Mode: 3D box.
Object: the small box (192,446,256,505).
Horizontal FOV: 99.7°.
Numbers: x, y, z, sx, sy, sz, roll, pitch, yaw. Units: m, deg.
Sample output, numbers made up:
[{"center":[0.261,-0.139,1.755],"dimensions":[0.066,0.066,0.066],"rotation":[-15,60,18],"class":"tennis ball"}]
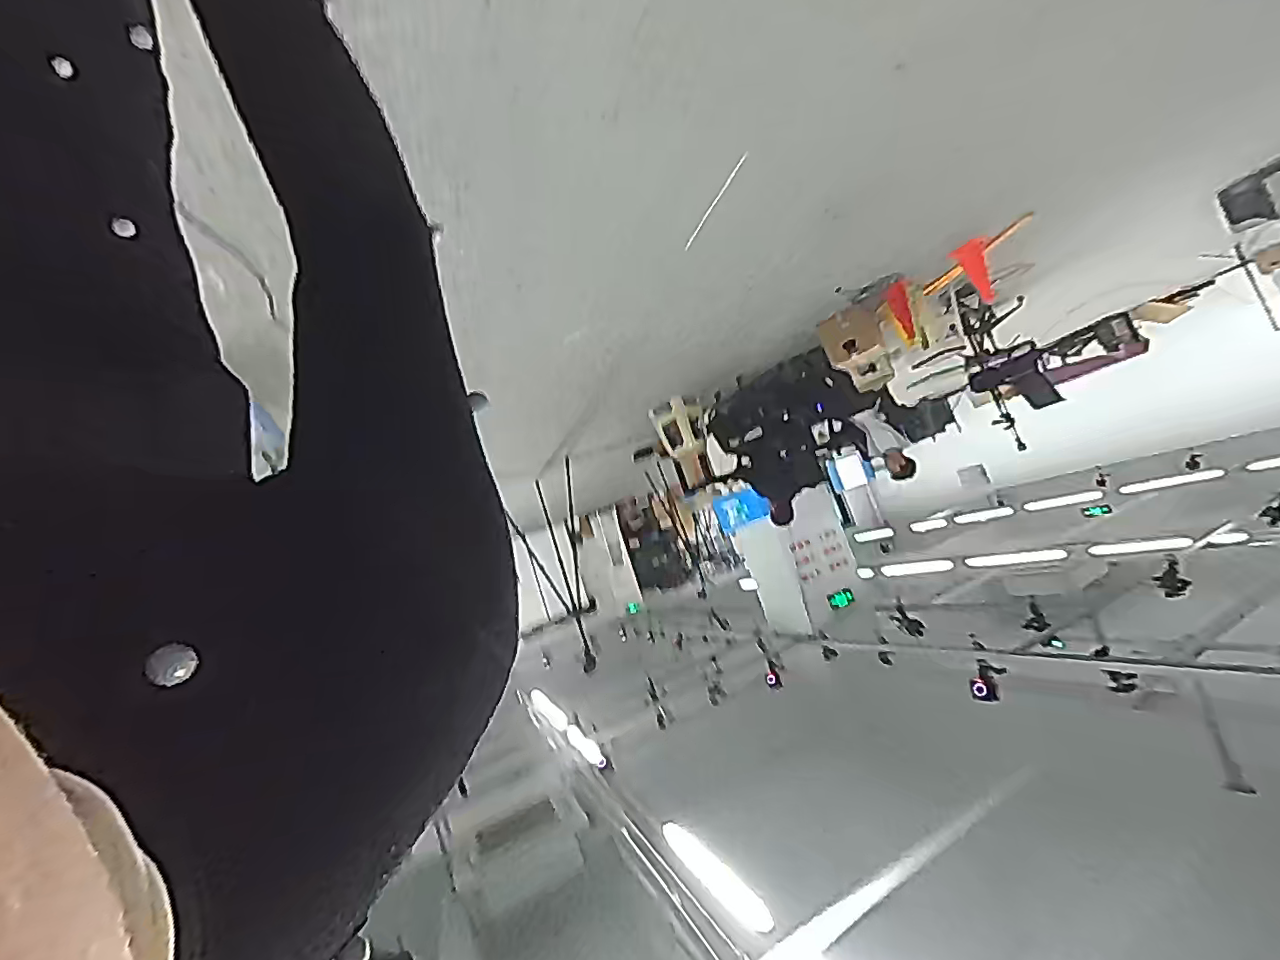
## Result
[{"center":[-1.593,-0.021,2.051],"dimensions":[0.168,0.176,0.179],"rotation":[-16,173,-26],"class":"small box"}]
